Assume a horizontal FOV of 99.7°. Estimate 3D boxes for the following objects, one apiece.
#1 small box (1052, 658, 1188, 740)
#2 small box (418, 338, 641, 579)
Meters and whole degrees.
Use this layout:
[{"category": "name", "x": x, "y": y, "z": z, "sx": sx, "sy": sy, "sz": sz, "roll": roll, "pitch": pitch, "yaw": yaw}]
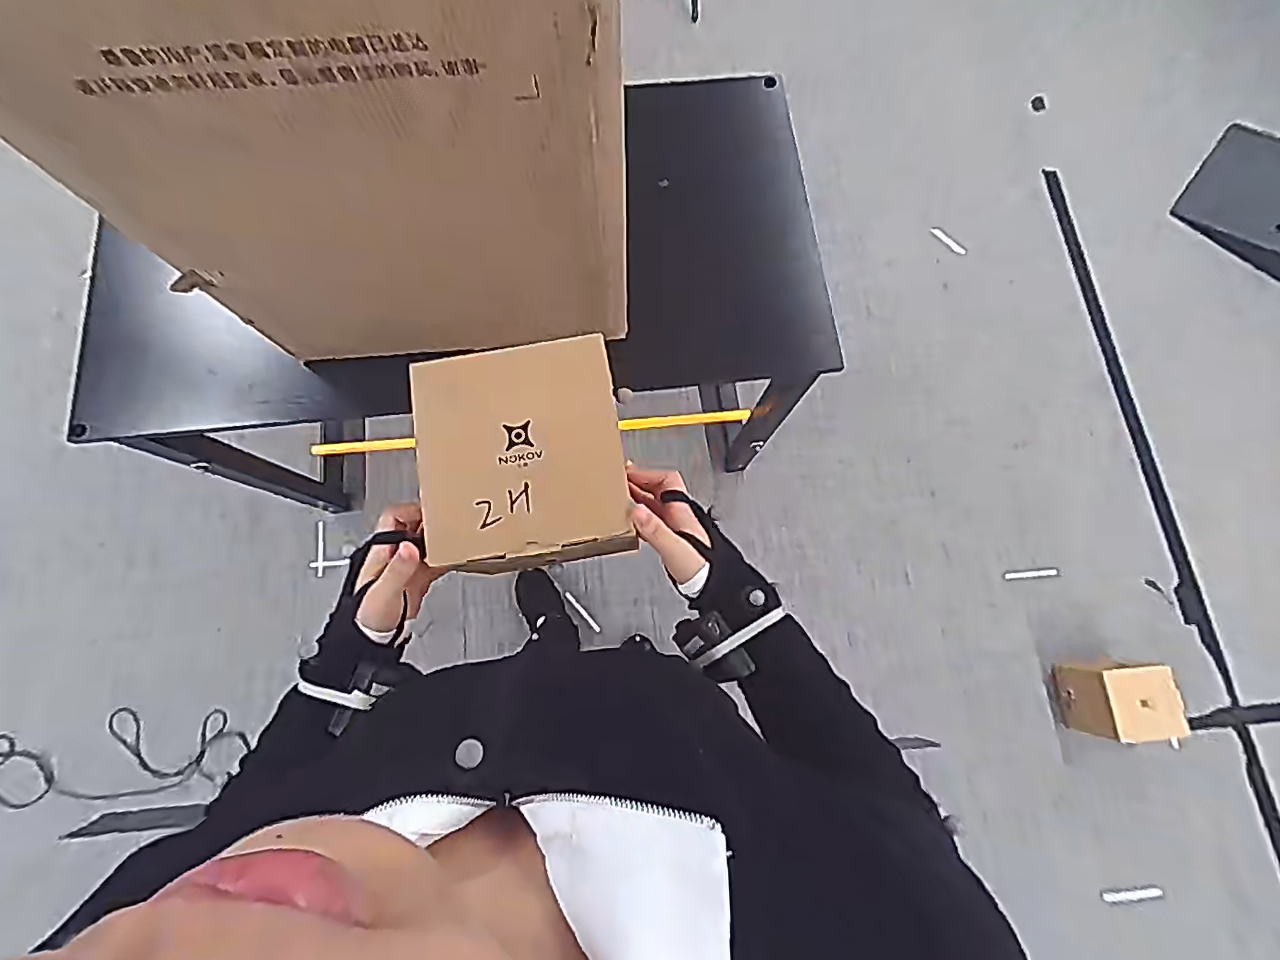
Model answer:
[{"category": "small box", "x": 1.215, "y": 0.552, "z": 1.383, "sx": 0.179, "sy": 0.176, "sz": 0.168, "roll": -5, "pitch": 76, "yaw": -1}, {"category": "small box", "x": -0.094, "y": -0.008, "z": 0.518, "sx": 0.168, "sy": 0.176, "sz": 0.179, "roll": -10, "pitch": 77, "yaw": -1}]
